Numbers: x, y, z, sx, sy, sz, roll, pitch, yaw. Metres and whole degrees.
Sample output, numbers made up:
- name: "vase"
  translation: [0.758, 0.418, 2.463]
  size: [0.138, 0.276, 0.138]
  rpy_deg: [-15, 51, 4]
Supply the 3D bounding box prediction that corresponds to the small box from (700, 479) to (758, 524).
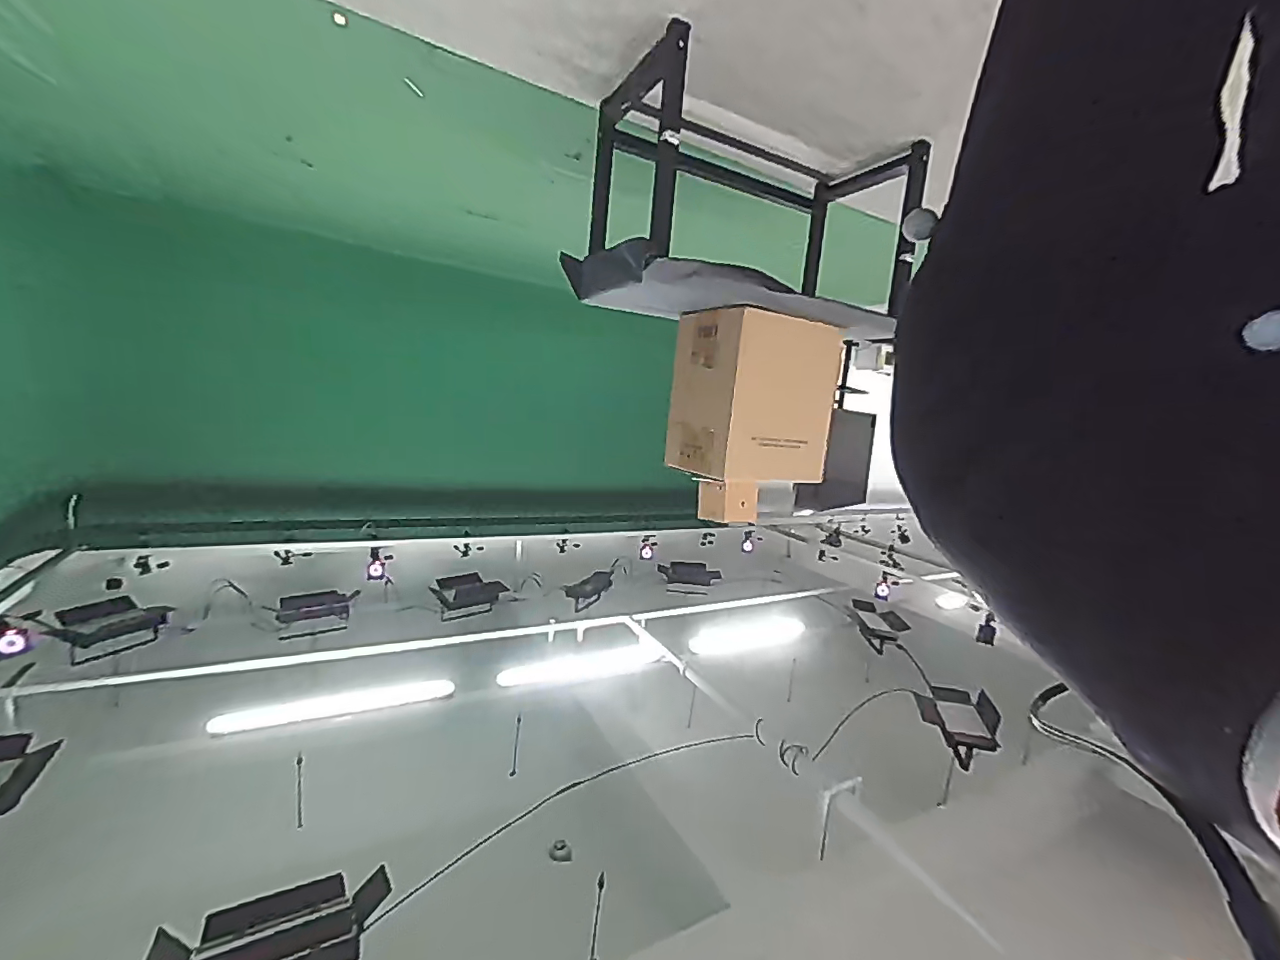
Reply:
- name: "small box"
  translation: [0.364, 0.084, 2.210]
  size: [0.179, 0.176, 0.168]
  rpy_deg: [0, -176, -32]
